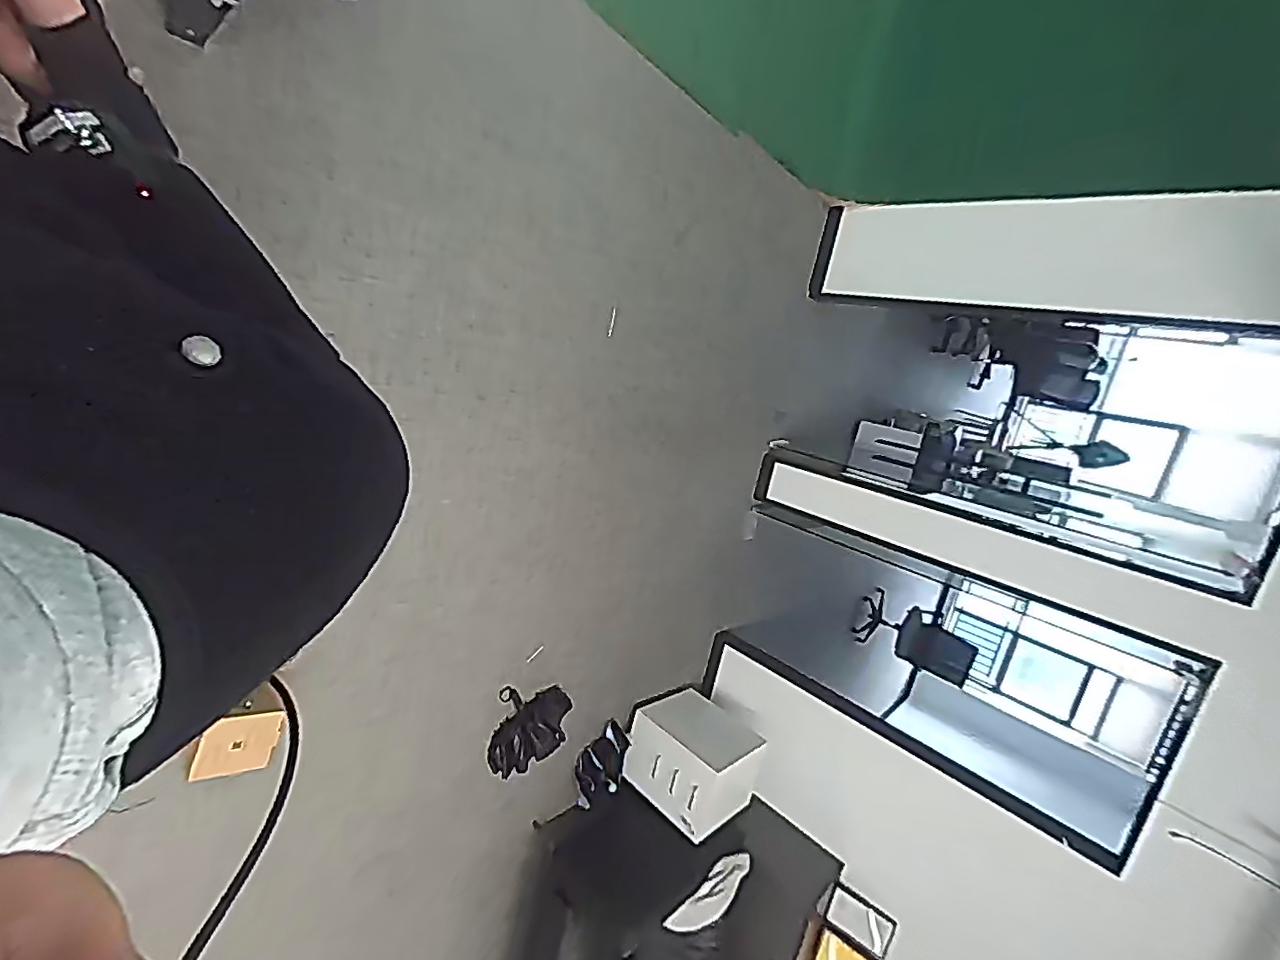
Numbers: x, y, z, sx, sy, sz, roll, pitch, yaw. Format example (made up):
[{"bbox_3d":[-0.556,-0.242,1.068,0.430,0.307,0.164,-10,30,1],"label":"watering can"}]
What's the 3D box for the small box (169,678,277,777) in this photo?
[{"bbox_3d":[-1.111,0.647,1.440,0.179,0.176,0.168,17,93,-50],"label":"small box"}]
